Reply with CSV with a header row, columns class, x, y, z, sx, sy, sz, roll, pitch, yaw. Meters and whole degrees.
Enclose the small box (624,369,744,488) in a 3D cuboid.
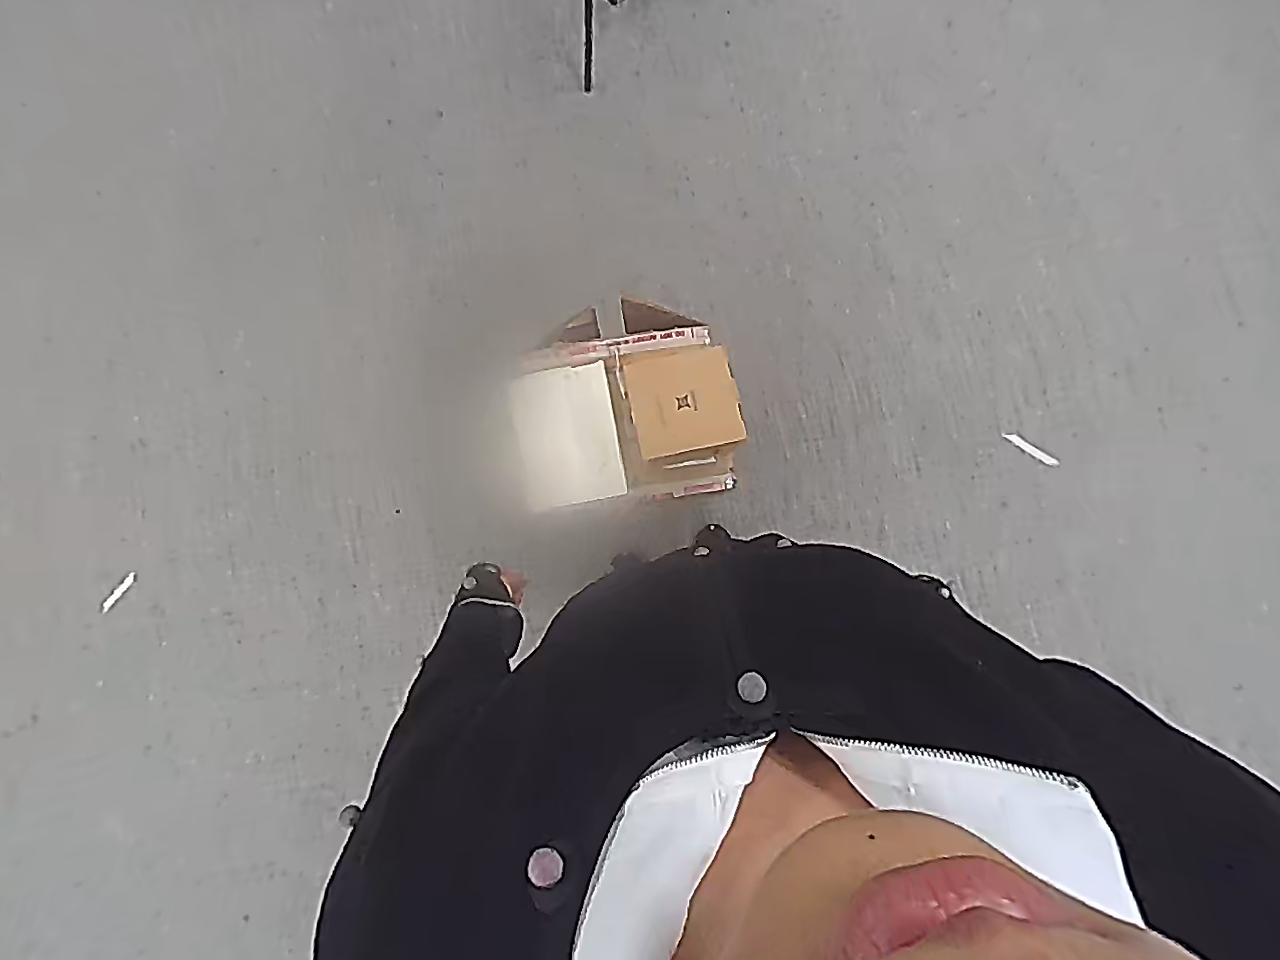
class,x,y,z,sx,sy,sz,roll,pitch,yaw
small box,0.072,-0.085,0.983,0.179,0.176,0.168,-13,85,-1
